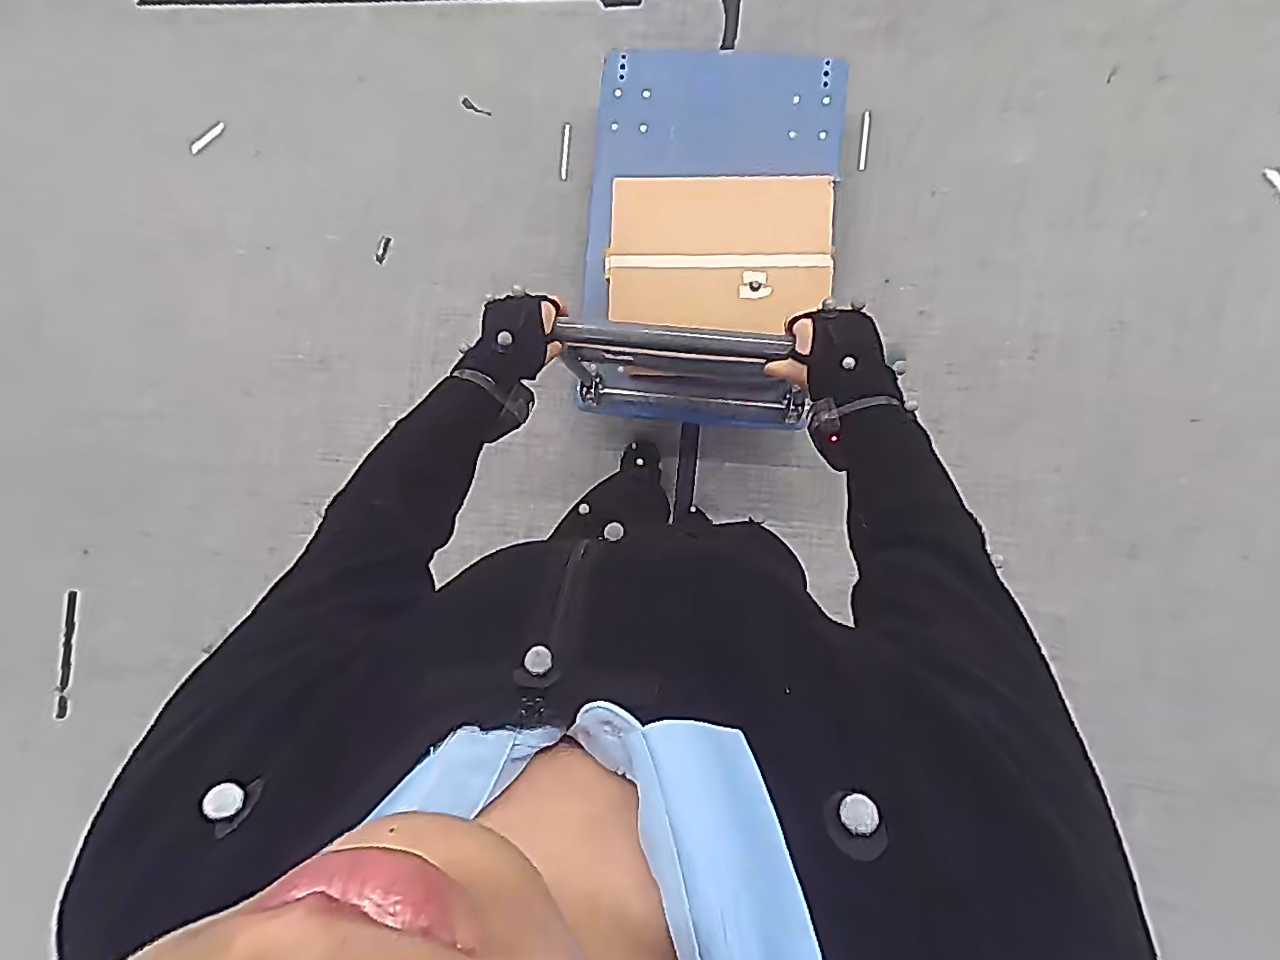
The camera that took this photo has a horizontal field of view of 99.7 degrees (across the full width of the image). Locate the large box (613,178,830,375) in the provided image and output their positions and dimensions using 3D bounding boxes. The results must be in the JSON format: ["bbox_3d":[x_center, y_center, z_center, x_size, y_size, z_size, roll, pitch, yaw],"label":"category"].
[{"bbox_3d":[0.157,-0.406,1.154,0.408,0.320,0.320,2,91,4],"label":"large box"}]
